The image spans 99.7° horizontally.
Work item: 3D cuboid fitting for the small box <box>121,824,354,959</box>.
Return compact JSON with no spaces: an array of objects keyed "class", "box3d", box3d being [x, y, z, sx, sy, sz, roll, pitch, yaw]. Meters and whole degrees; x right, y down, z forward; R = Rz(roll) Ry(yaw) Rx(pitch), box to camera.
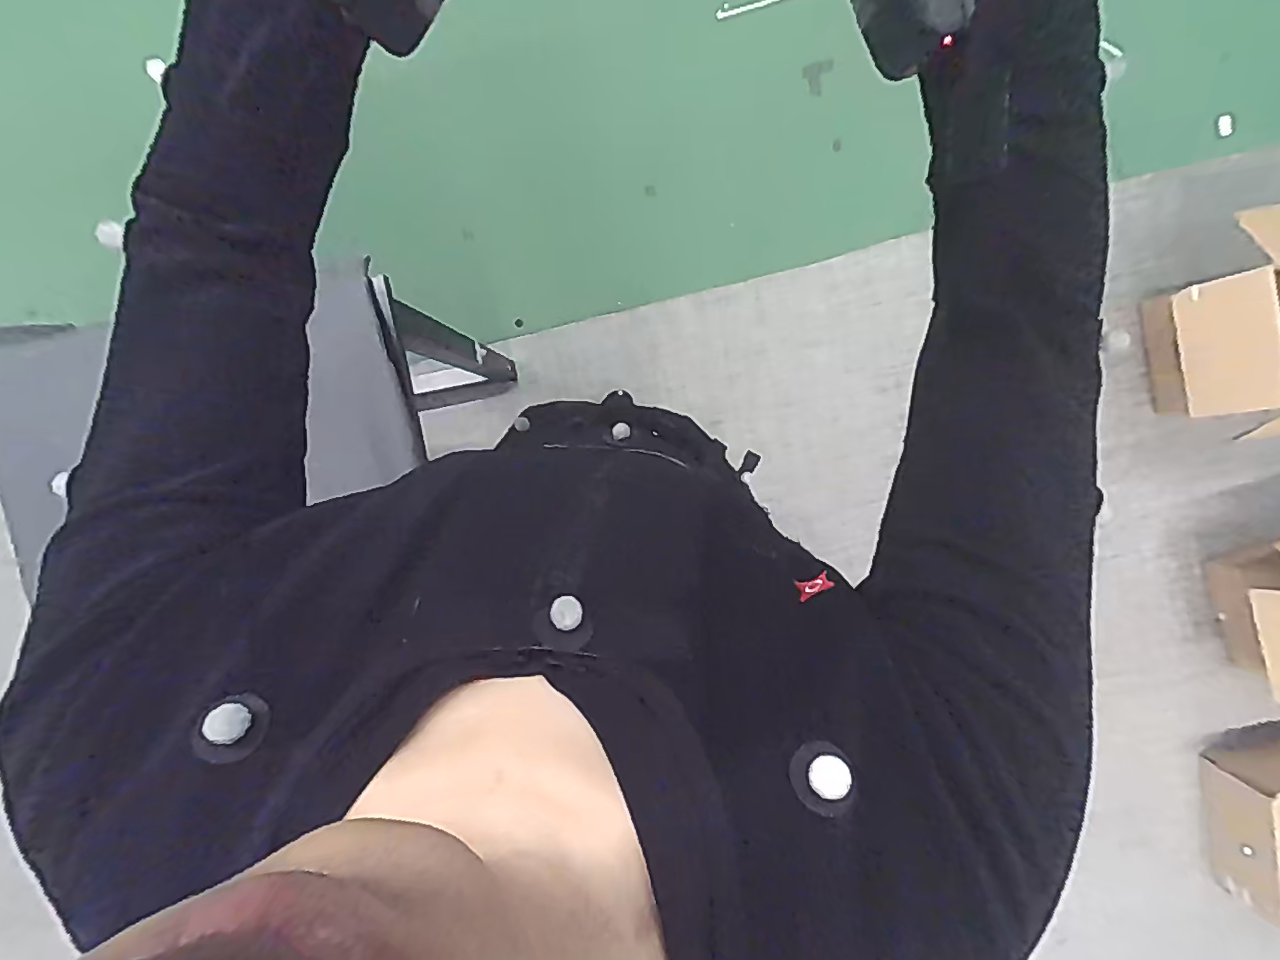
[{"class":"small box","box3d":[-0.502,0.594,0.704,0.168,0.176,0.179,-9,93,1]}]
